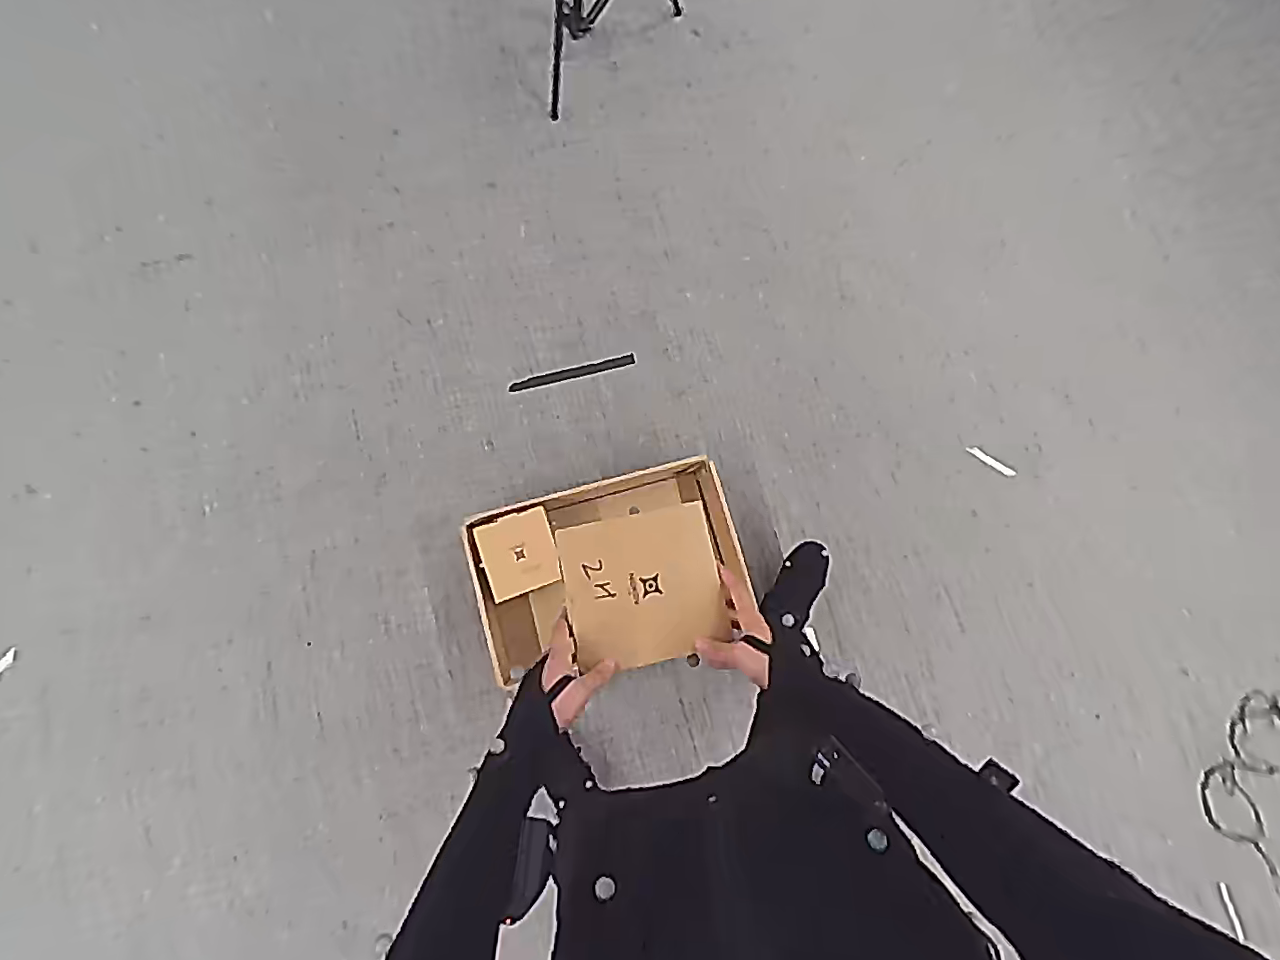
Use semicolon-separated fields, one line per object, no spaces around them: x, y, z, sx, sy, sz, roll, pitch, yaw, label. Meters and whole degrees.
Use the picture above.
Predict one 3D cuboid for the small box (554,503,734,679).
-0.002;0.135;0.674;0.179;0.176;0.168;-12;78;-6;small box
